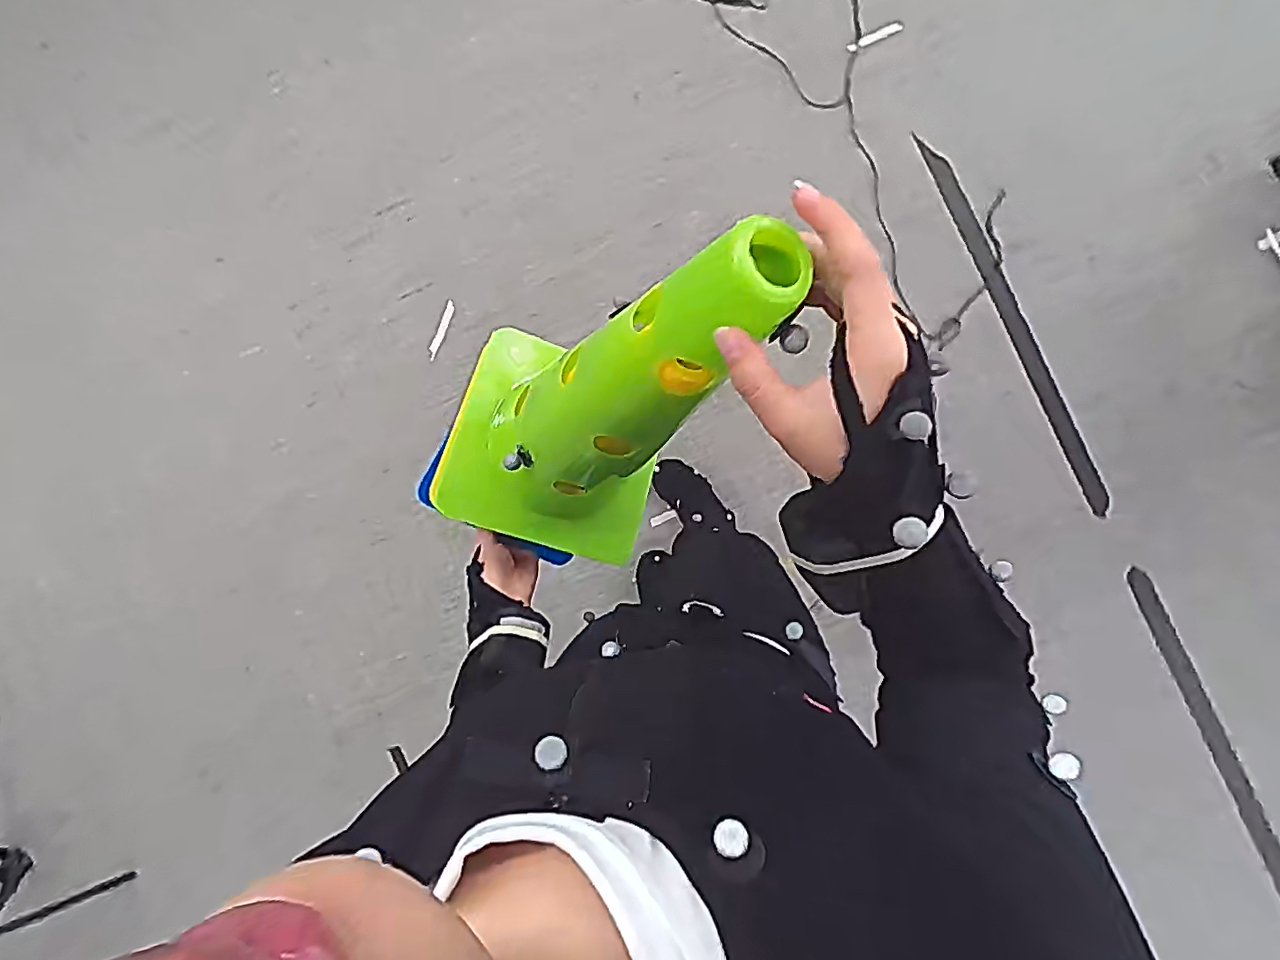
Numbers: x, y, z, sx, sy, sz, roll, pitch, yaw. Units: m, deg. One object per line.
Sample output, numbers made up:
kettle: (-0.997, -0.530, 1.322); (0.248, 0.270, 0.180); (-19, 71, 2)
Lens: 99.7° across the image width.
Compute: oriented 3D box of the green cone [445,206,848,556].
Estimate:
green cone: (-0.003, -0.067, 0.371); (0.200, 0.368, 0.202); (19, 75, -18)
